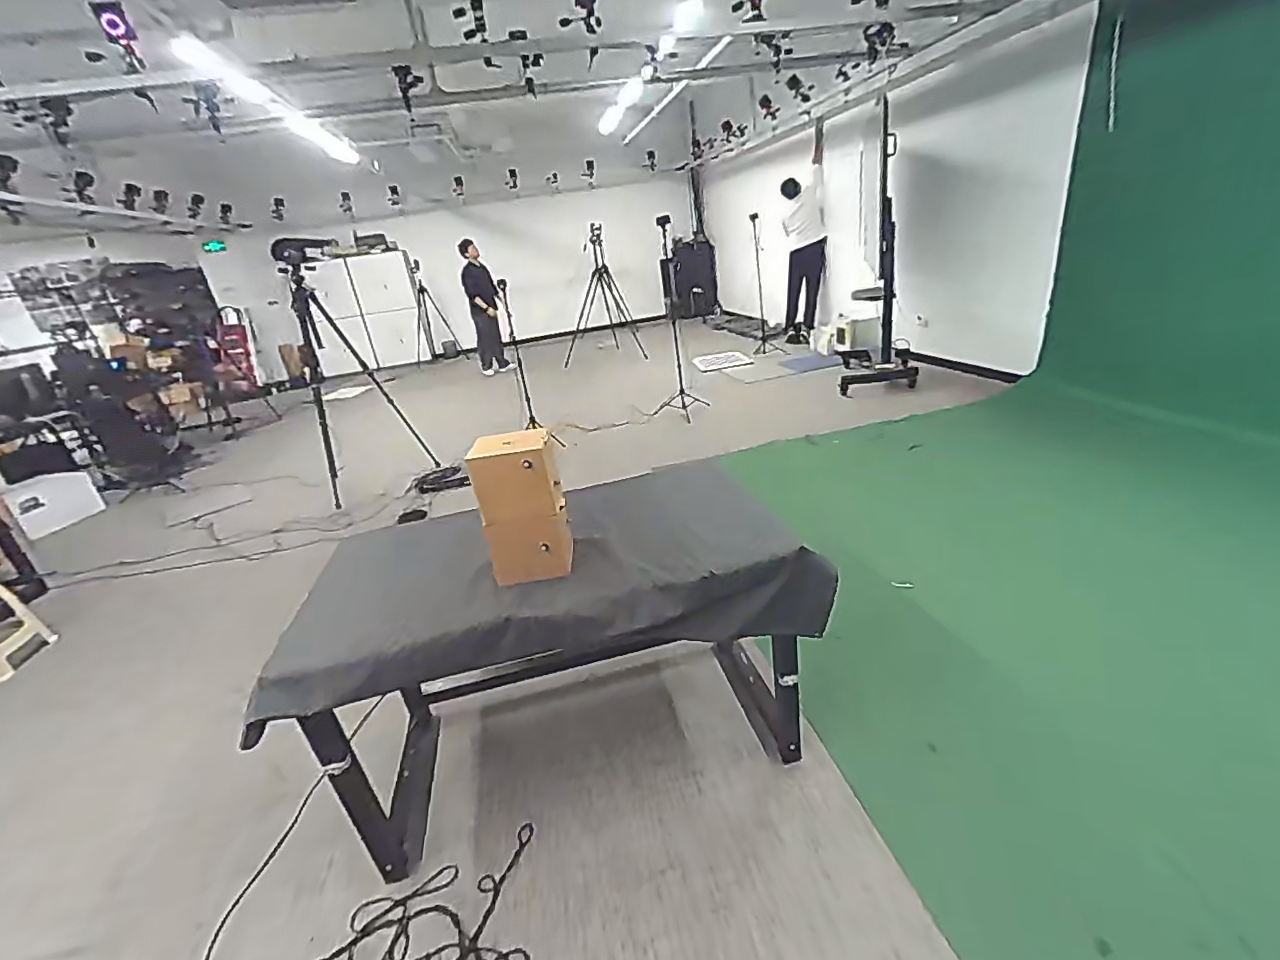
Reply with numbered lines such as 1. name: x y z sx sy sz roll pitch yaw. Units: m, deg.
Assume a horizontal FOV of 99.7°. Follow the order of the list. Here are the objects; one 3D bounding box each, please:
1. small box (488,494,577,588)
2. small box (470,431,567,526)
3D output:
1. small box: -0.256 0.147 1.339 0.179 0.176 0.168 -10 22 0
2. small box: -0.279 -0.003 1.281 0.179 0.176 0.168 -8 22 0
